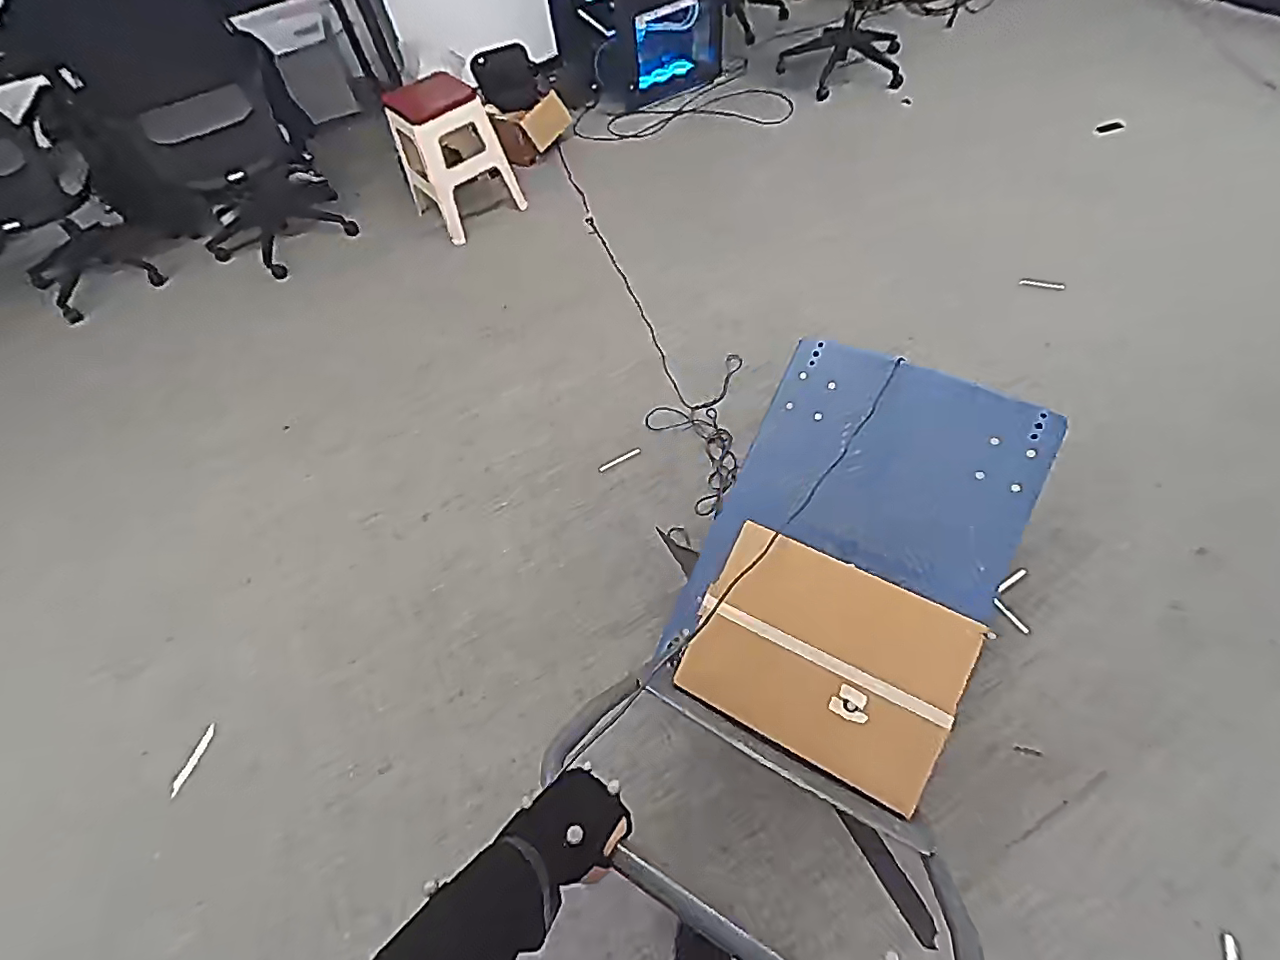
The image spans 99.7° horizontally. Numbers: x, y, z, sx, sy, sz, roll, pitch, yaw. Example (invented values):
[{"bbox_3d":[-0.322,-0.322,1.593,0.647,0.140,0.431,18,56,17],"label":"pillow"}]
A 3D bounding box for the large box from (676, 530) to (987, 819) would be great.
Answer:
[{"bbox_3d":[0.329,0.322,1.009,0.408,0.320,0.320,24,87,18],"label":"large box"}]
